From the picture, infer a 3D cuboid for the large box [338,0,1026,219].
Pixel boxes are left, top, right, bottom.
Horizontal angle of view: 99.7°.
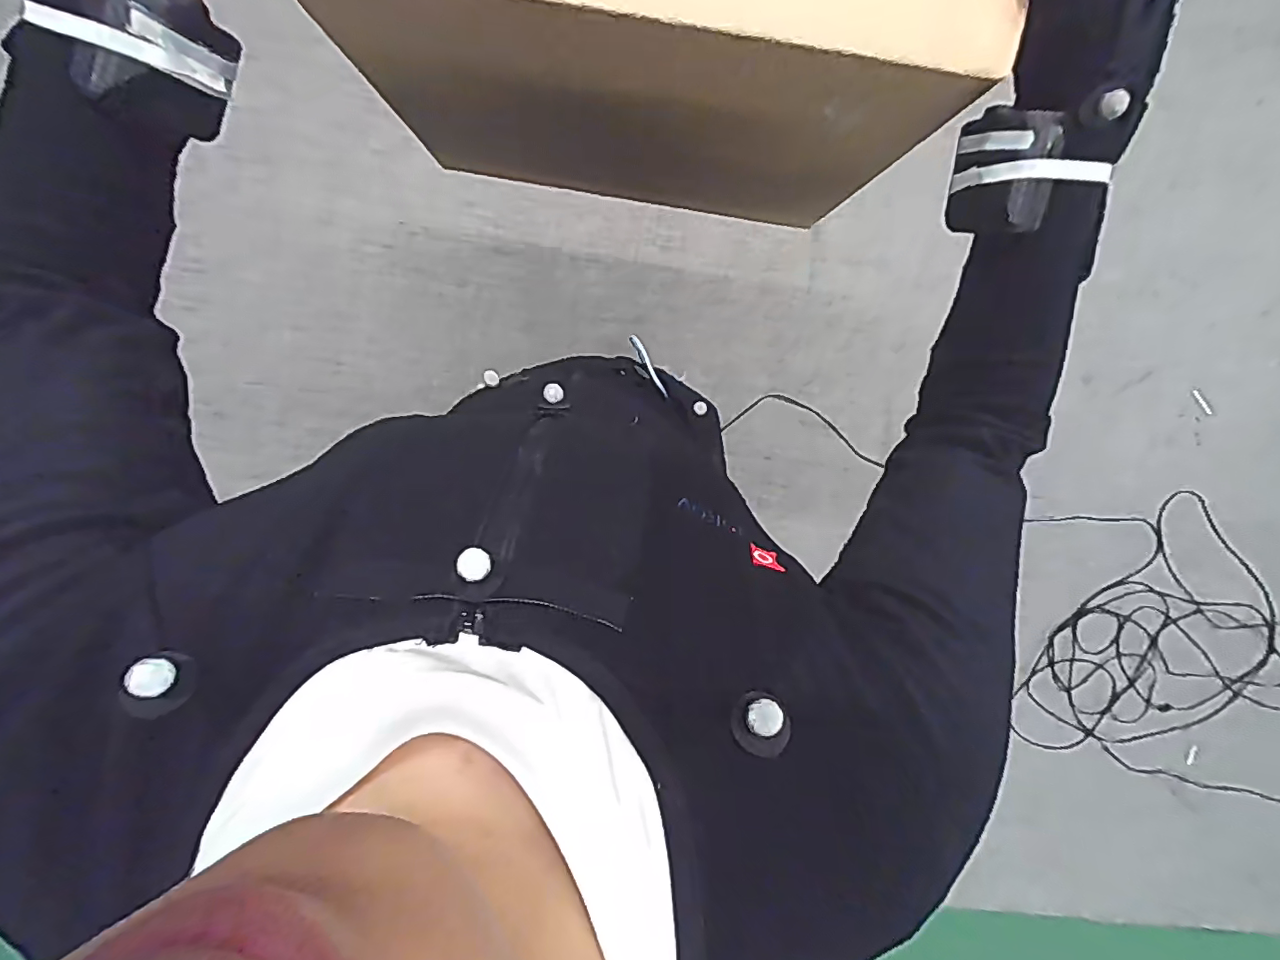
[{"bbox_3d":[0.024,-0.428,0.413,0.408,0.320,0.320,7,101,-5],"label":"large box"}]
